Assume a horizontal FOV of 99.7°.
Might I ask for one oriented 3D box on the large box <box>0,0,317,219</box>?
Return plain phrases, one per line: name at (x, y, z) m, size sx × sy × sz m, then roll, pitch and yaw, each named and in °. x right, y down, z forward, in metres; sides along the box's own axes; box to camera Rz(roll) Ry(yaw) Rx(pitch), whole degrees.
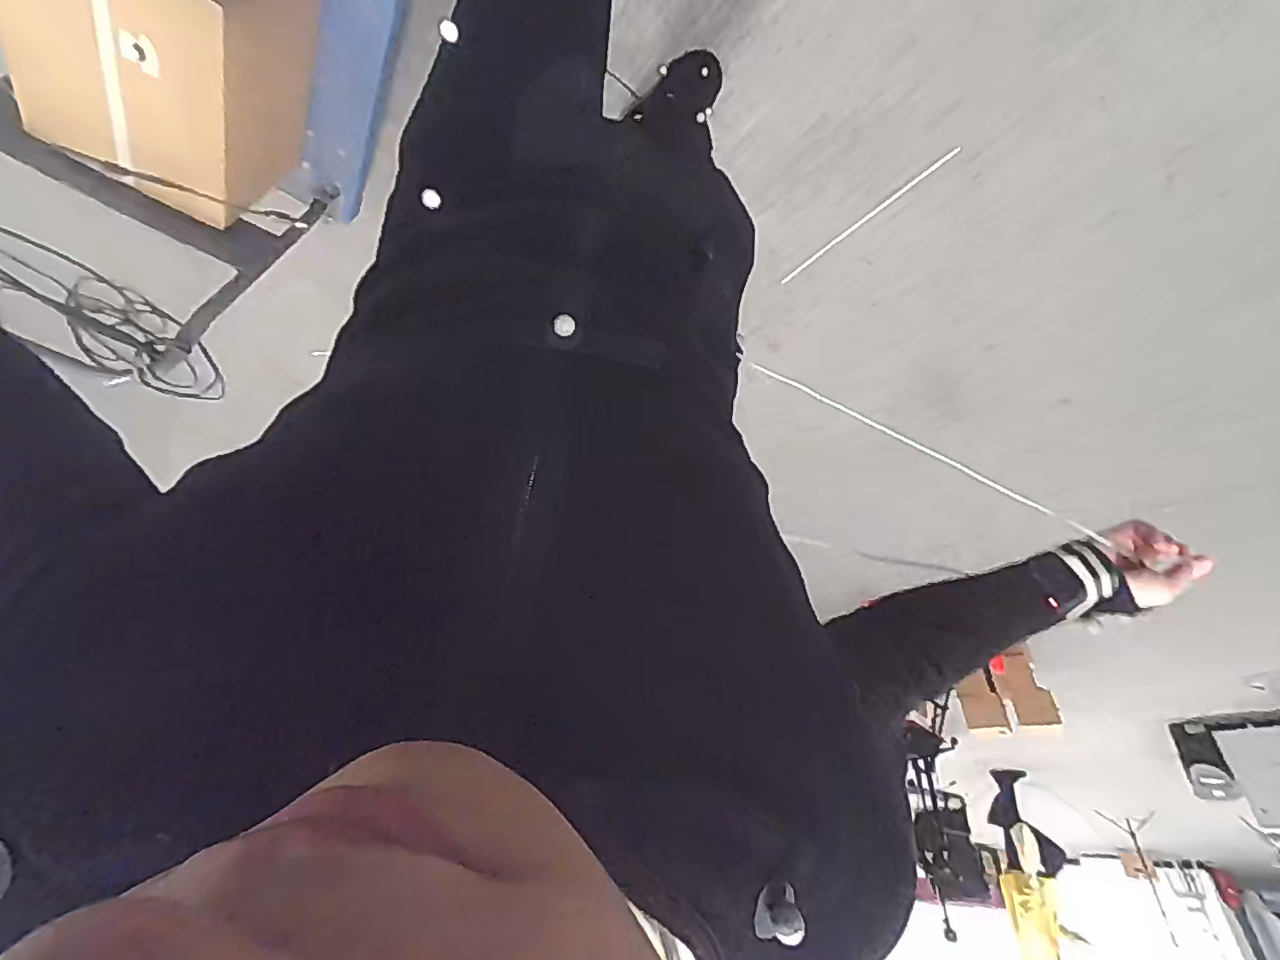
large box at (-0.802, -0.768, 0.938) m, size 0.320 × 0.320 × 0.408 m, roll 25°, pitch 138°, yaw -21°
